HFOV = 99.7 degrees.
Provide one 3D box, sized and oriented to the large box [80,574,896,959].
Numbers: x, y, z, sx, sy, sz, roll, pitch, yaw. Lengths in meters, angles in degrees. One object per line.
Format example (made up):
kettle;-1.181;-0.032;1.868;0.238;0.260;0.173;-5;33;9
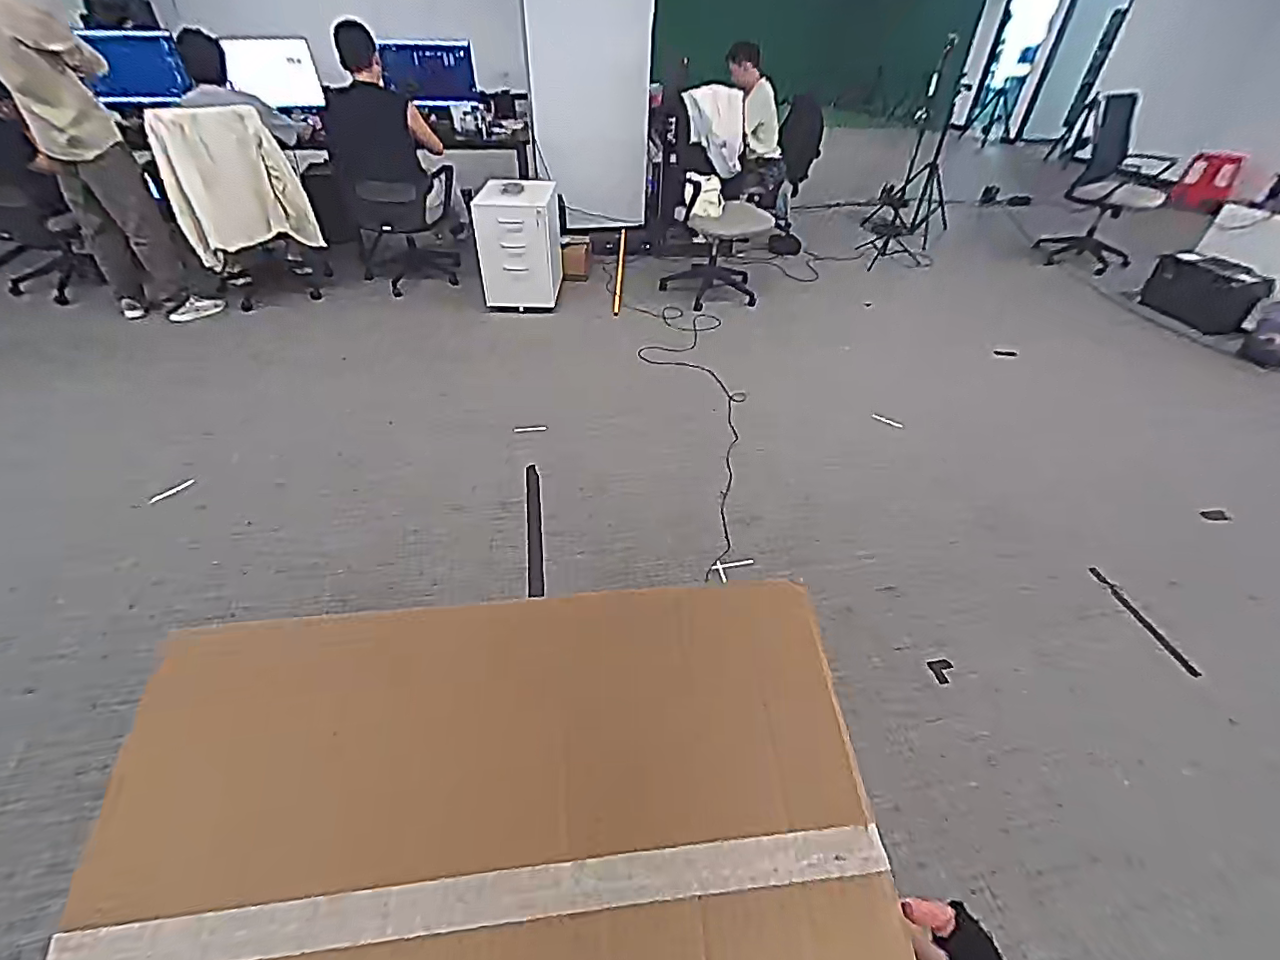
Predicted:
large box;-0.081;0.291;0.408;0.408;0.320;0.320;-4;58;-5
